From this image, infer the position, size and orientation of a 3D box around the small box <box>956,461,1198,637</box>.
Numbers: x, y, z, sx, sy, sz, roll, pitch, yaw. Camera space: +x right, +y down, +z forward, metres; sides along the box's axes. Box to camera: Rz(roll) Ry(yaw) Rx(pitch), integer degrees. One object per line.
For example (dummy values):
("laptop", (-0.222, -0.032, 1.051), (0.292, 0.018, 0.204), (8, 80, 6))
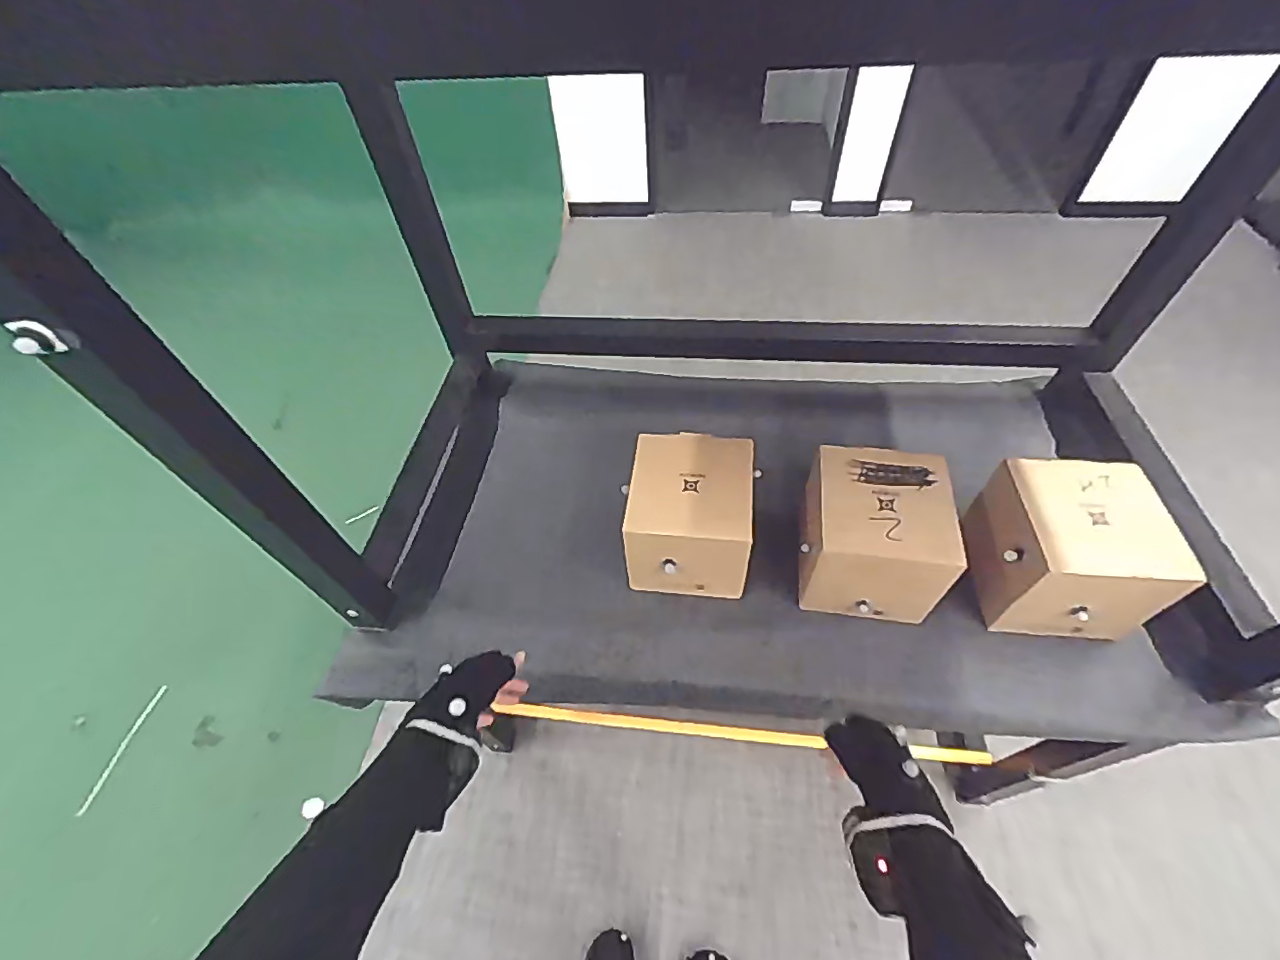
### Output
("small box", (0.560, 0.096, 0.728), (0.168, 0.176, 0.179), (3, 51, 6))

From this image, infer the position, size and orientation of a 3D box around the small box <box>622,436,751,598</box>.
("small box", (0.073, 0.057, 0.797), (0.168, 0.176, 0.179), (4, 52, 7))
